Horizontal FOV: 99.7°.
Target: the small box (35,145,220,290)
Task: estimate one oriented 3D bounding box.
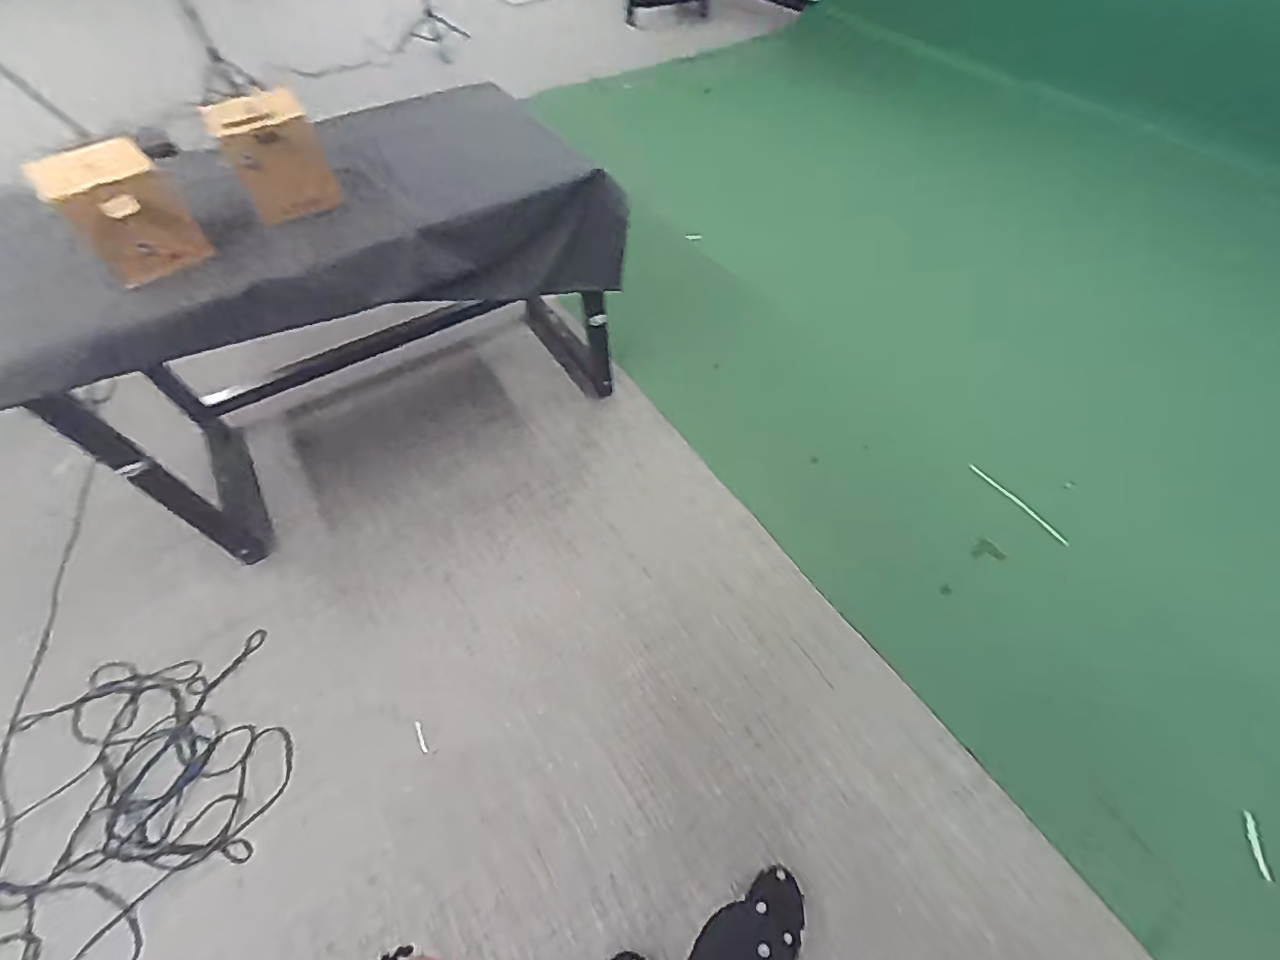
[{"bbox_3d":[-0.939,-0.484,1.003,0.168,0.176,0.179,-38,62,-24],"label":"small box"}]
